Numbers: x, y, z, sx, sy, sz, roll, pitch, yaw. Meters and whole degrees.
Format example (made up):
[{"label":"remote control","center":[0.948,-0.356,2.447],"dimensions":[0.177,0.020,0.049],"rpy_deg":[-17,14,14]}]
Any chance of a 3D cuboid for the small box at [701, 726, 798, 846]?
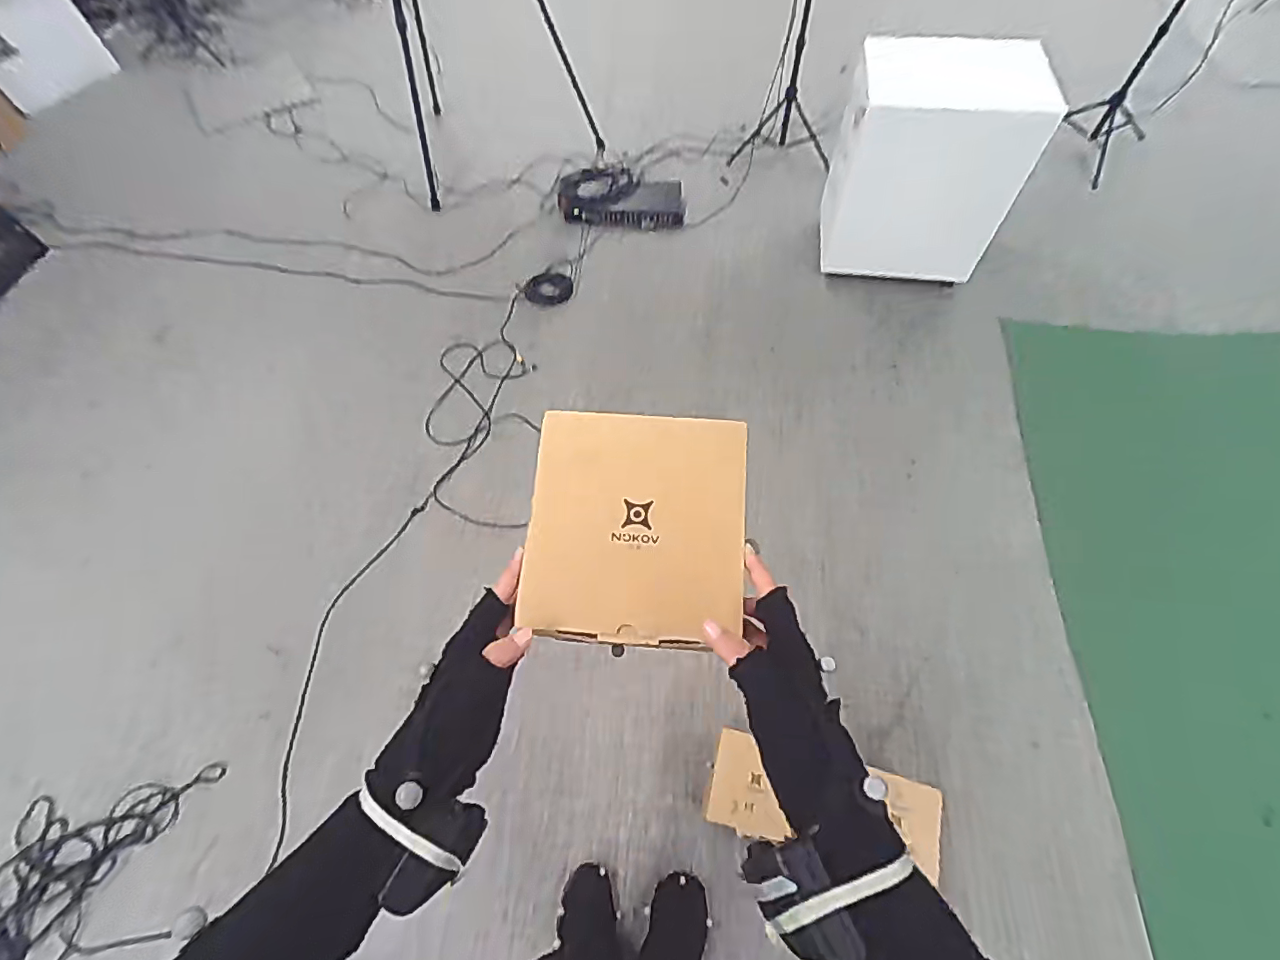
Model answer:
[{"label":"small box","center":[0.226,0.645,1.148],"dimensions":[0.168,0.176,0.179],"rpy_deg":[12,62,10]}]
